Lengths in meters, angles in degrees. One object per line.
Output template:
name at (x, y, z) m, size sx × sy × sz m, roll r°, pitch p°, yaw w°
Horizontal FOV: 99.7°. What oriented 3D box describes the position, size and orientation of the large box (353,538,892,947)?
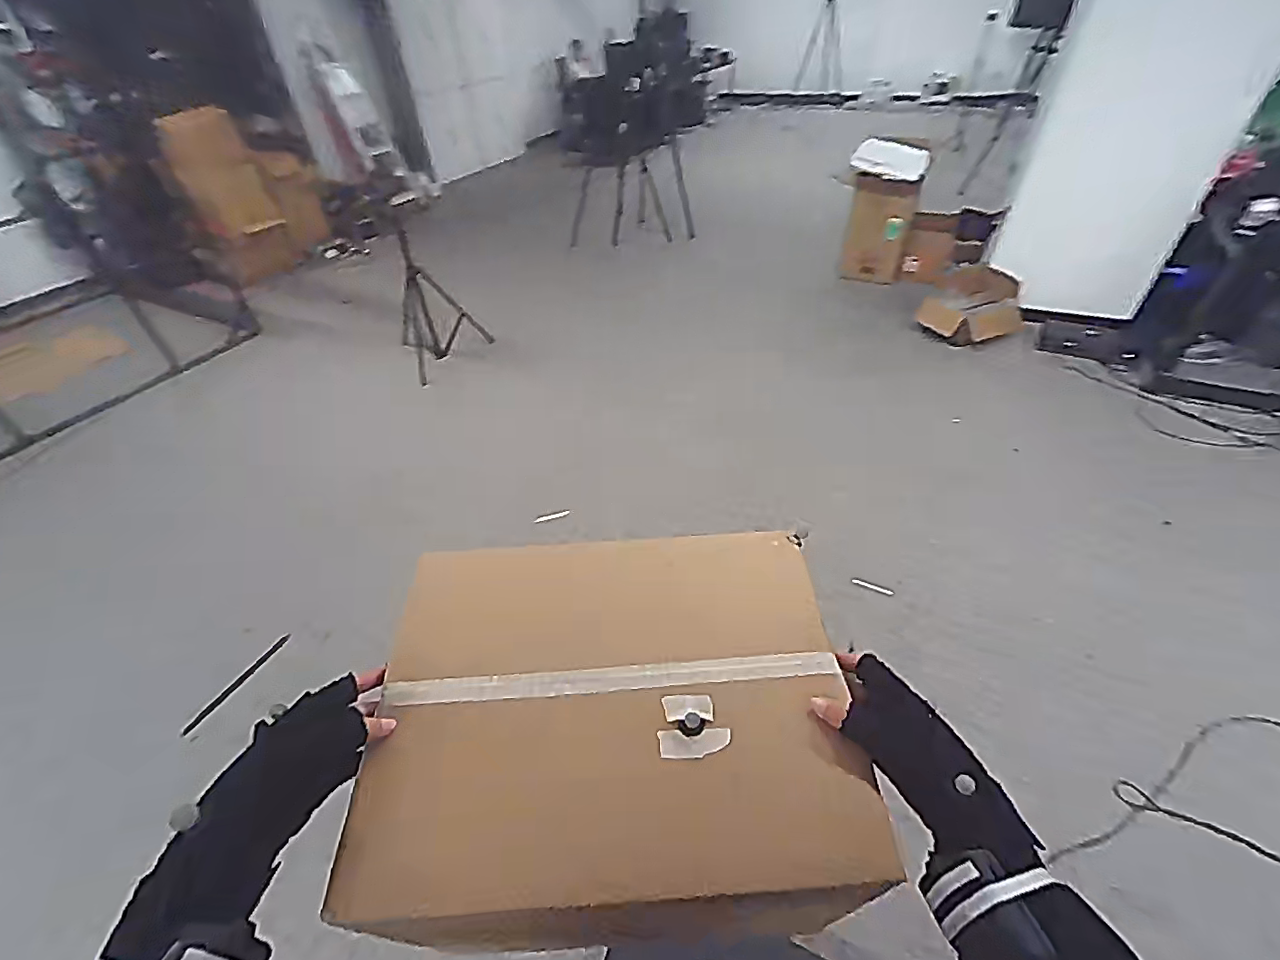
large box at (-0.015, 0.288, 0.599) m, size 0.408 × 0.320 × 0.320 m, roll -3°, pitch 46°, yaw 0°
